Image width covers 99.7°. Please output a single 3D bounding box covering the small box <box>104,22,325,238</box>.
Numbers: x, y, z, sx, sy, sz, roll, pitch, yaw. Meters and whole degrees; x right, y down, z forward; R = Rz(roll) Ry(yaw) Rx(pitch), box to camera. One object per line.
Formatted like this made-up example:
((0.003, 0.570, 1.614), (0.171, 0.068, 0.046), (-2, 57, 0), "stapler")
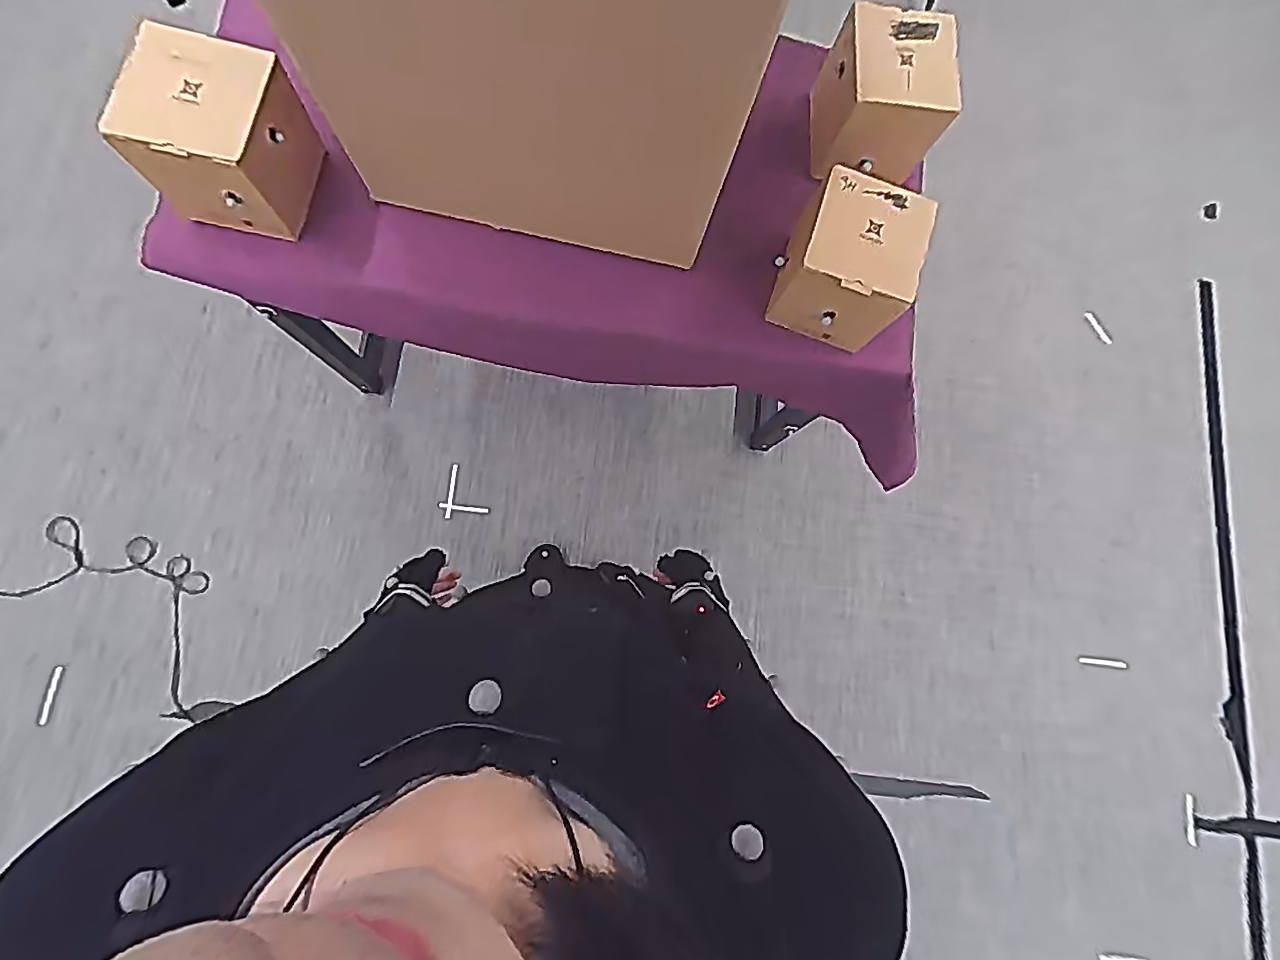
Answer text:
((-0.580, -0.480, 0.768), (0.168, 0.176, 0.179), (10, 77, -8), "small box")
